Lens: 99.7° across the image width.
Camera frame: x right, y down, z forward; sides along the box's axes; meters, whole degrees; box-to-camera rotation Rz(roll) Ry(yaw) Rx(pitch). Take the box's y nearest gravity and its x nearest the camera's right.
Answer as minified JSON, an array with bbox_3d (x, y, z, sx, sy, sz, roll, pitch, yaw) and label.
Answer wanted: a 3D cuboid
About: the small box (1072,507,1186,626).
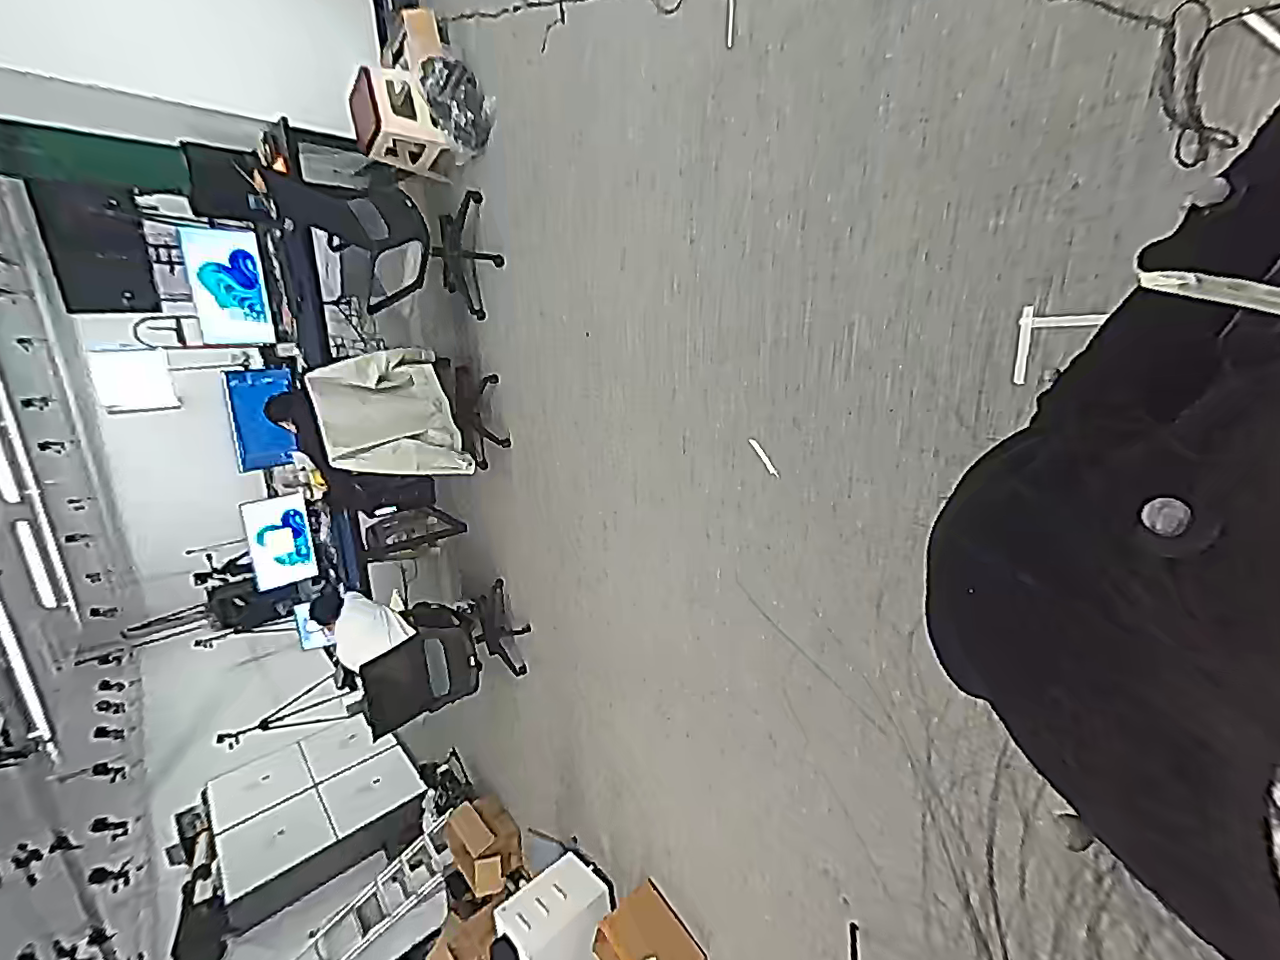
[{"bbox_3d":[0.994,0.170,1.117,0.168,0.176,0.179,15,112,45],"label":"small box"}]
